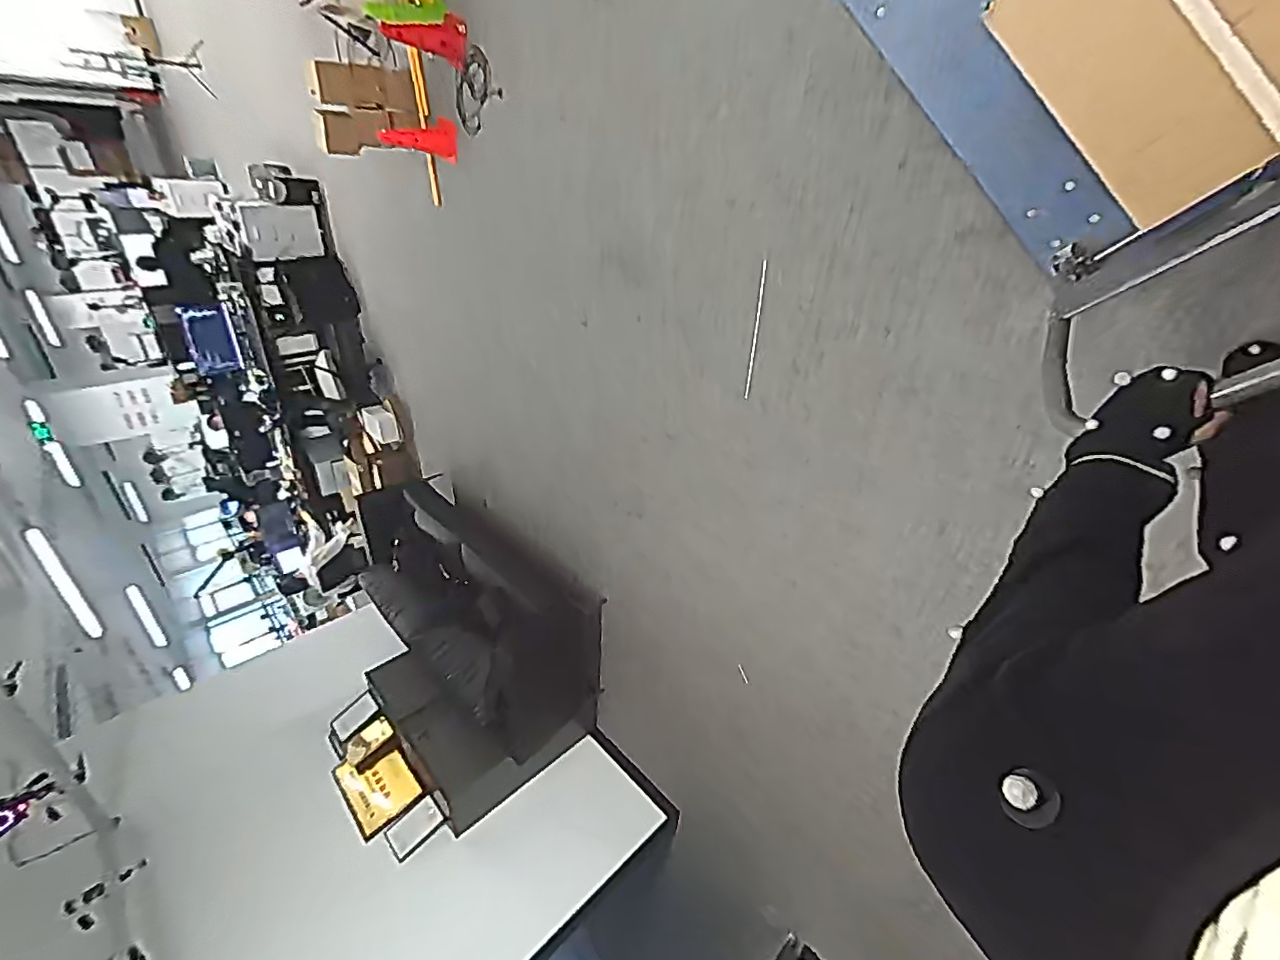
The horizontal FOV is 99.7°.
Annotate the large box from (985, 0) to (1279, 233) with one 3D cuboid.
[{"bbox_3d":[0.807,-0.654,0.790,0.408,0.320,0.320,52,140,-2],"label":"large box"}]
